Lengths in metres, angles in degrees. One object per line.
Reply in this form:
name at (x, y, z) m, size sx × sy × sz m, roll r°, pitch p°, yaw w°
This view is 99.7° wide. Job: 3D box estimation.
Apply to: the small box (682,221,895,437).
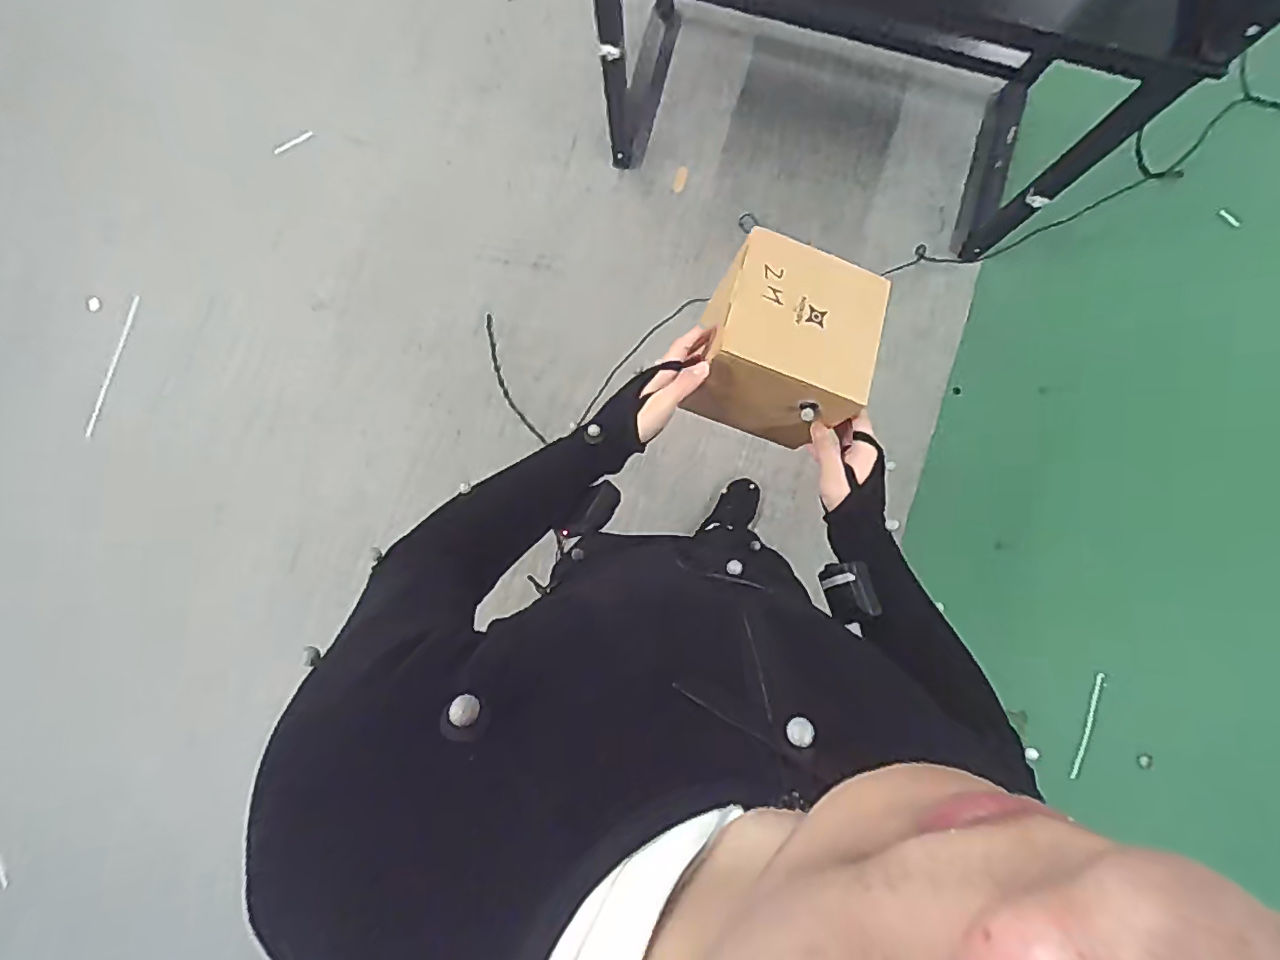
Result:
small box at (0.170, -0.166, 0.658) m, size 0.179 × 0.176 × 0.168 m, roll 20°, pitch 74°, yaw -5°
